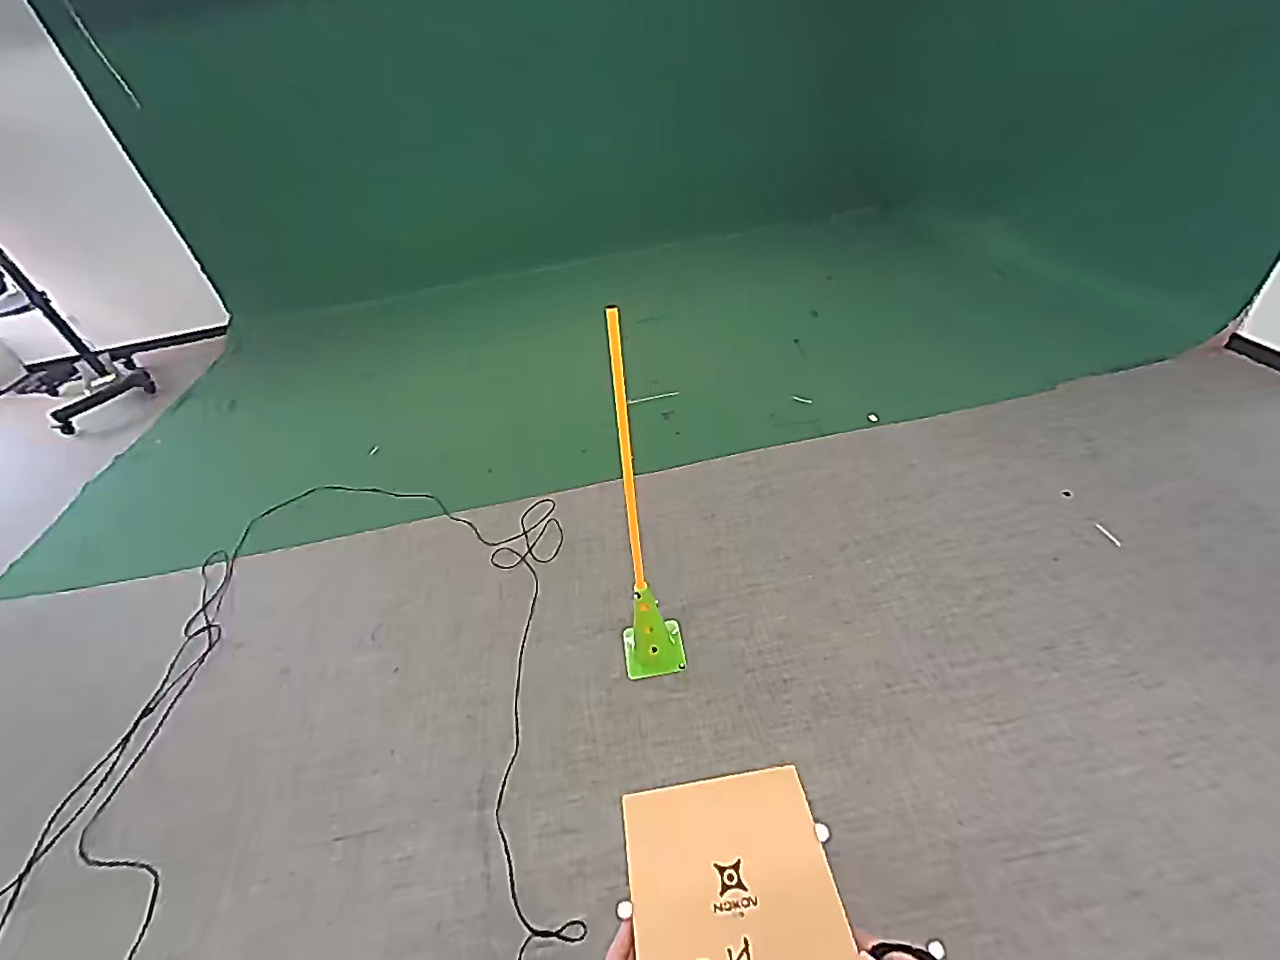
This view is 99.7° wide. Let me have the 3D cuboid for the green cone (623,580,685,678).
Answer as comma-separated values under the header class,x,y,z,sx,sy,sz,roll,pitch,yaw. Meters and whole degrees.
class,x,y,z,sx,sy,sz,roll,pitch,yaw
green cone,0.020,0.452,1.766,0.202,0.368,0.200,-11,40,0
